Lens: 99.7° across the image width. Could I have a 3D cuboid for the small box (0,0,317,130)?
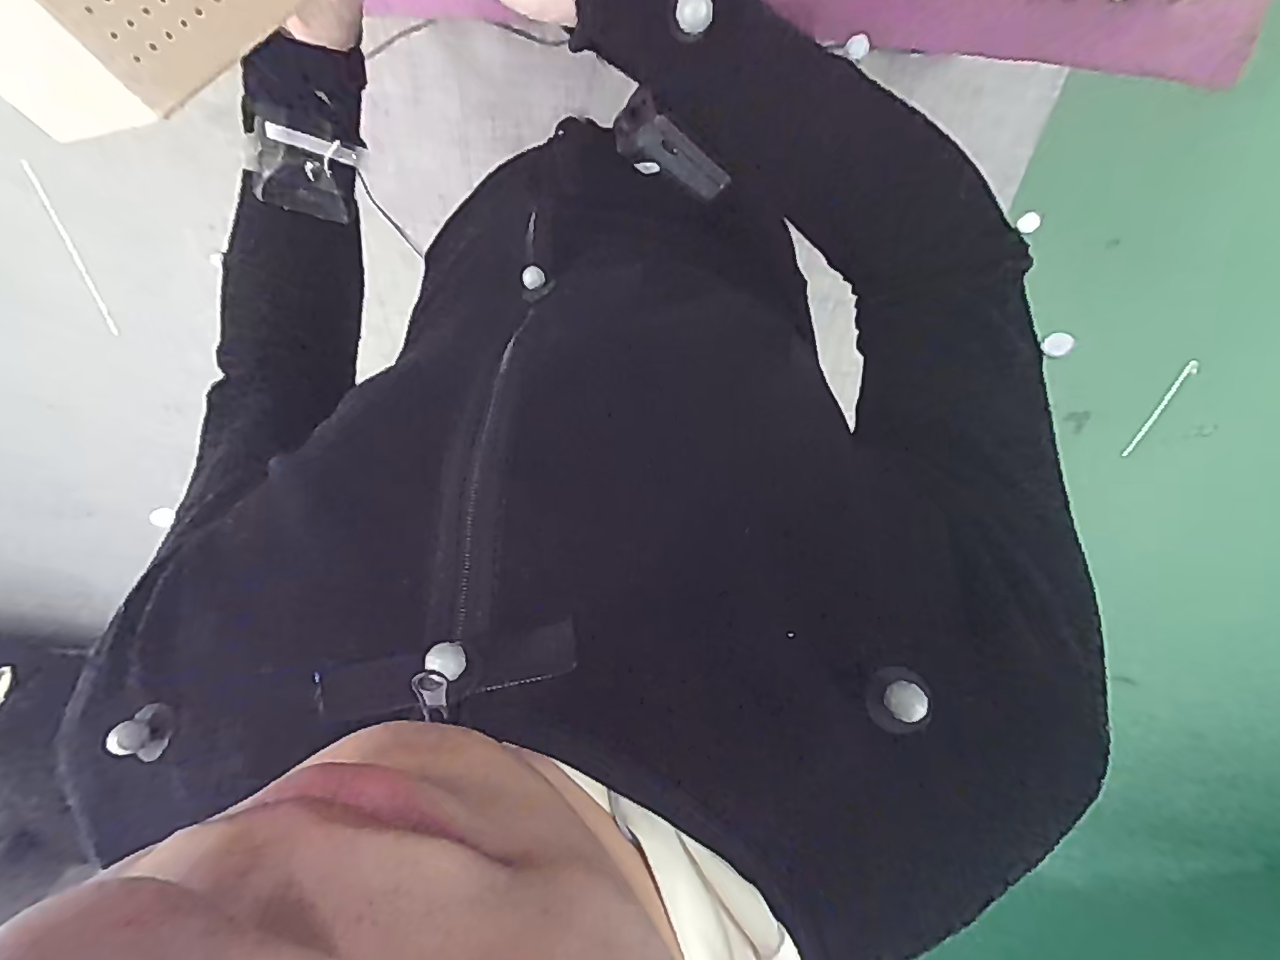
[{"bbox_3d":[-0.206,-0.250,0.182,0.179,0.168,0.176,22,160,33],"label":"small box"}]
